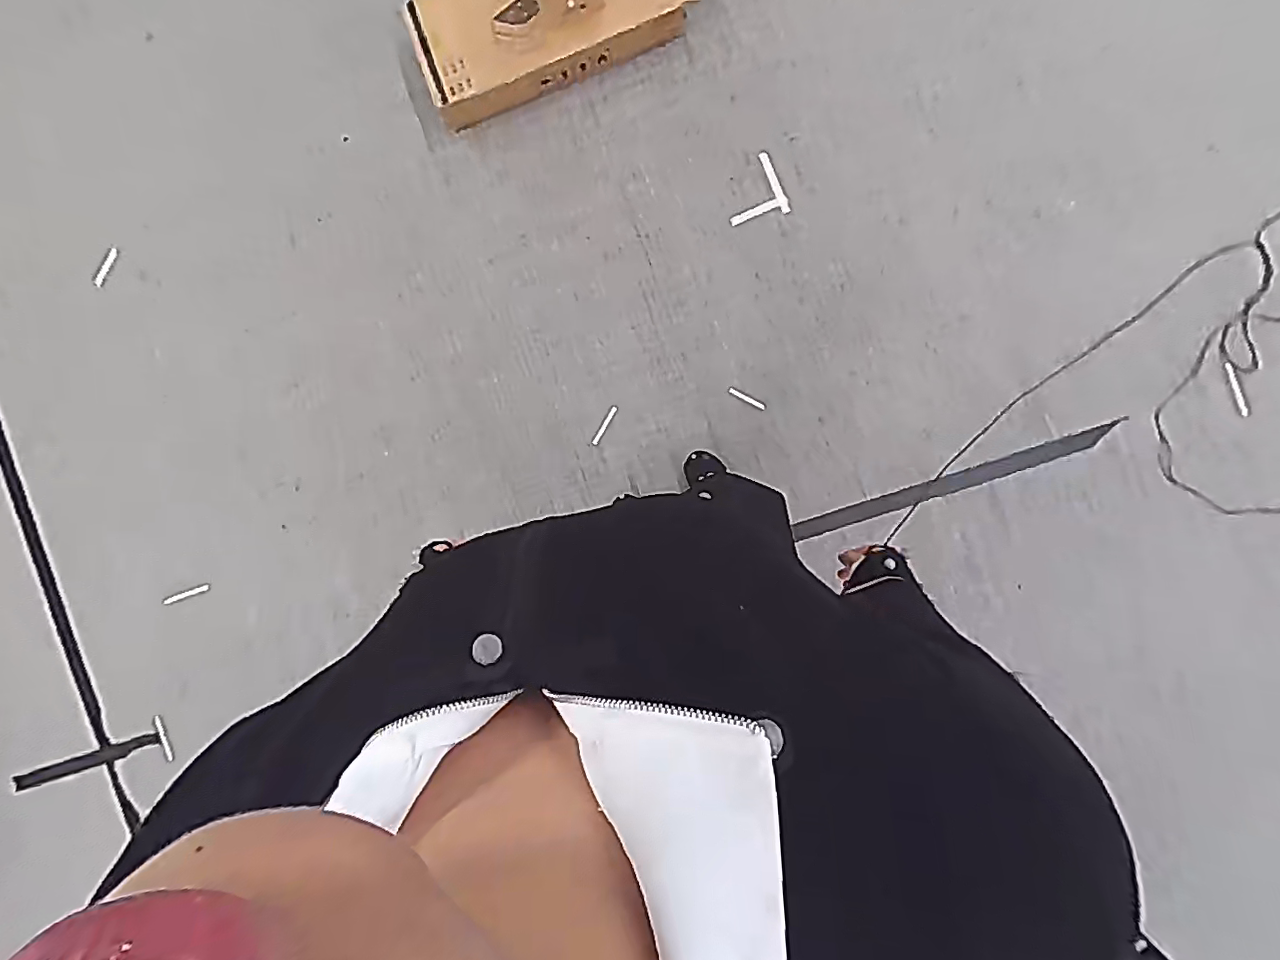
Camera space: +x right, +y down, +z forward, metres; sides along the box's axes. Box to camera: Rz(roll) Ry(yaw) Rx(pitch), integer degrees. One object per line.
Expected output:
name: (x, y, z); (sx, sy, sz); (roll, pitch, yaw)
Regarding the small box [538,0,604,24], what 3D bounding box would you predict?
small box: (-0.194, -1.277, 1.312); (0.168, 0.176, 0.179); (-16, 90, 5)
